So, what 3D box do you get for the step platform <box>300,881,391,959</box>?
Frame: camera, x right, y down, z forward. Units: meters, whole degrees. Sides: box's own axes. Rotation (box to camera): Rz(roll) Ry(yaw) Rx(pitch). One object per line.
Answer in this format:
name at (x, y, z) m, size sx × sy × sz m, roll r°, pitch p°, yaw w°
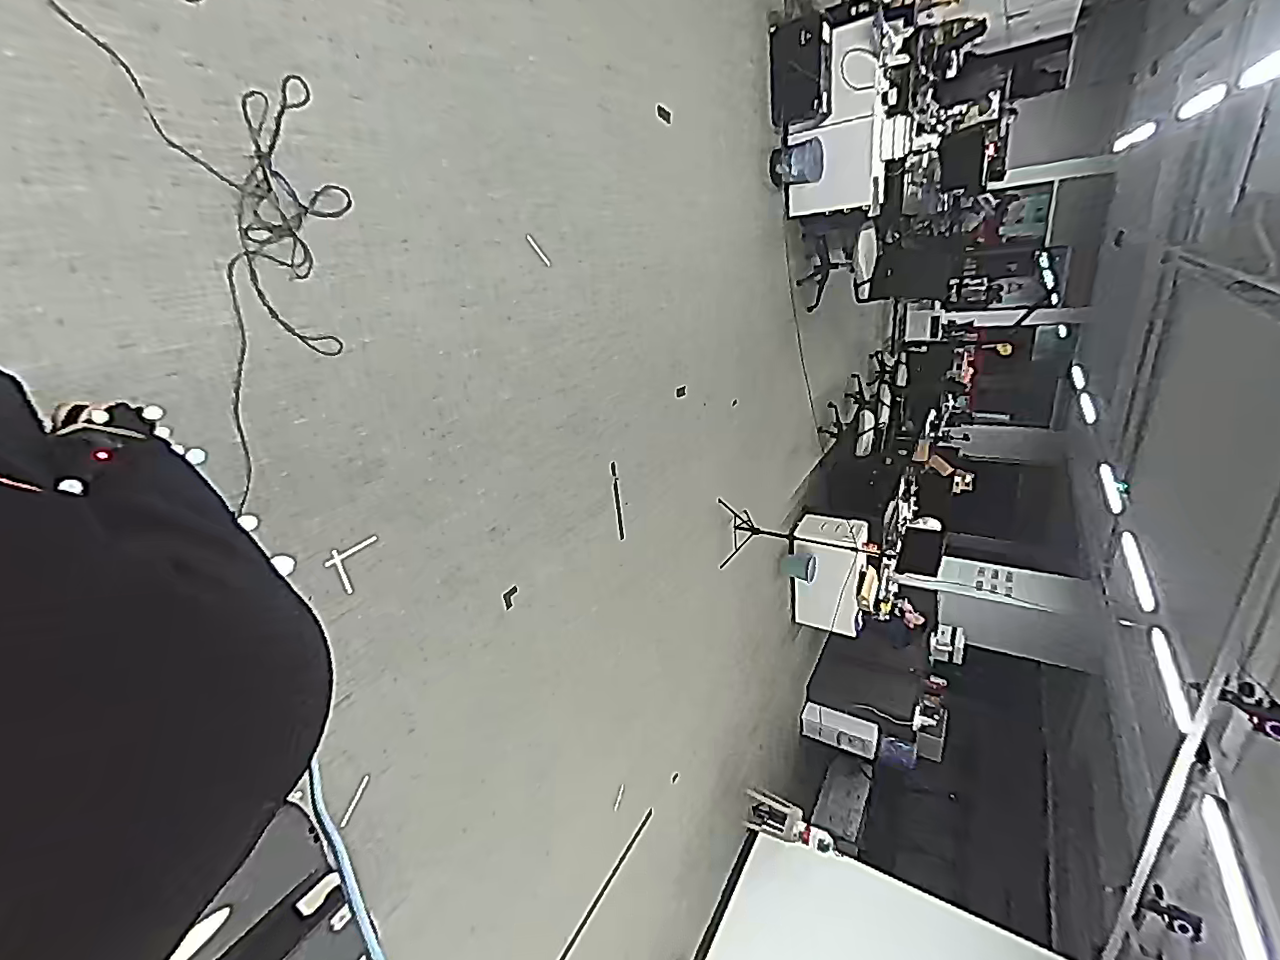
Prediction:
step platform at (-0.932, 1.337, 1.245) m, size 0.684 × 0.204 × 0.286 m, roll -29°, pitch 118°, yaw -50°
